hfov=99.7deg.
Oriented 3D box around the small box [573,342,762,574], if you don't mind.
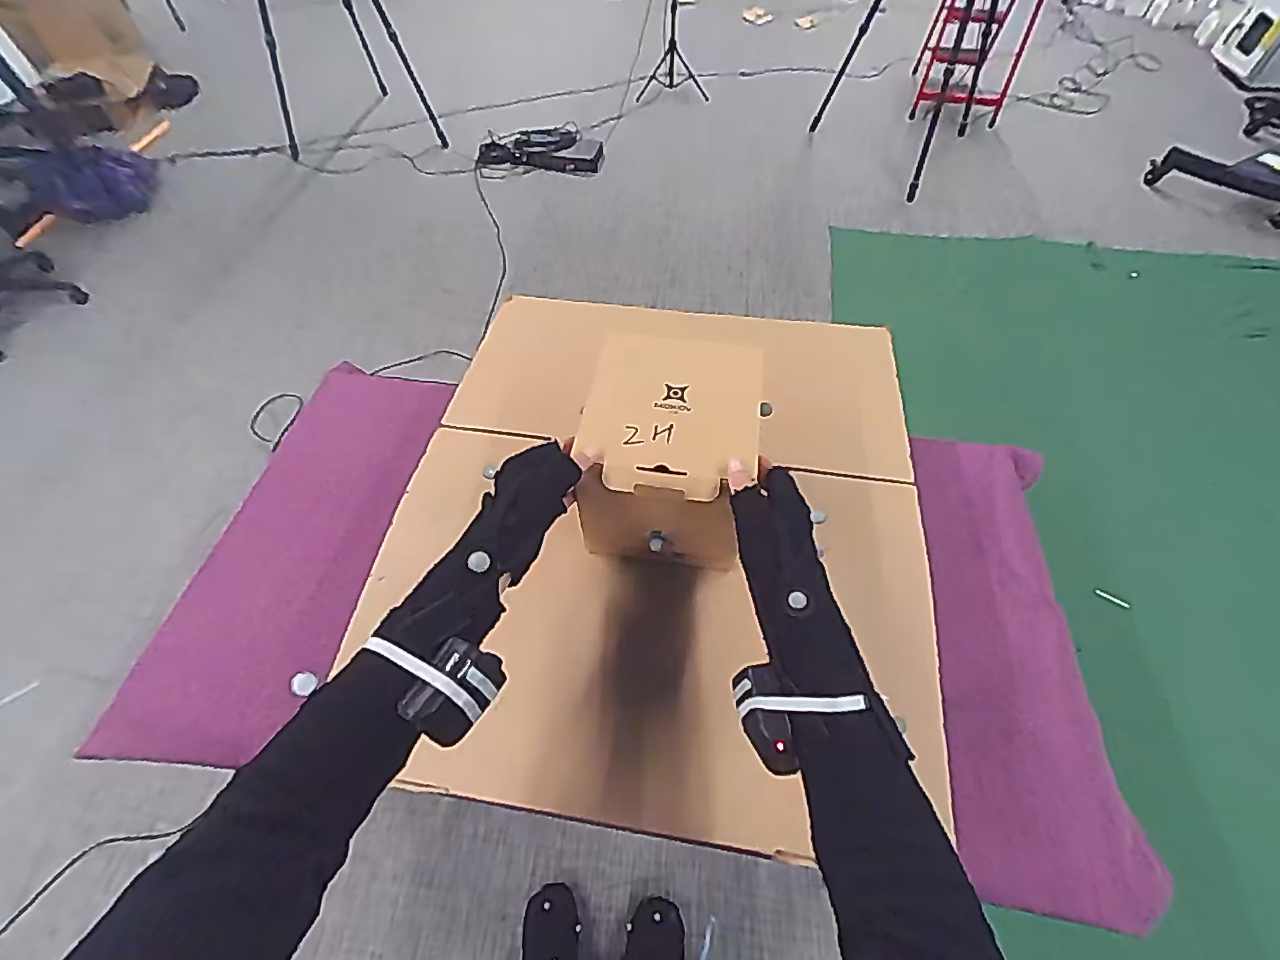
[{"bbox_3d":[0.033,-0.022,0.588,0.168,0.176,0.179,7,55,6],"label":"small box"}]
